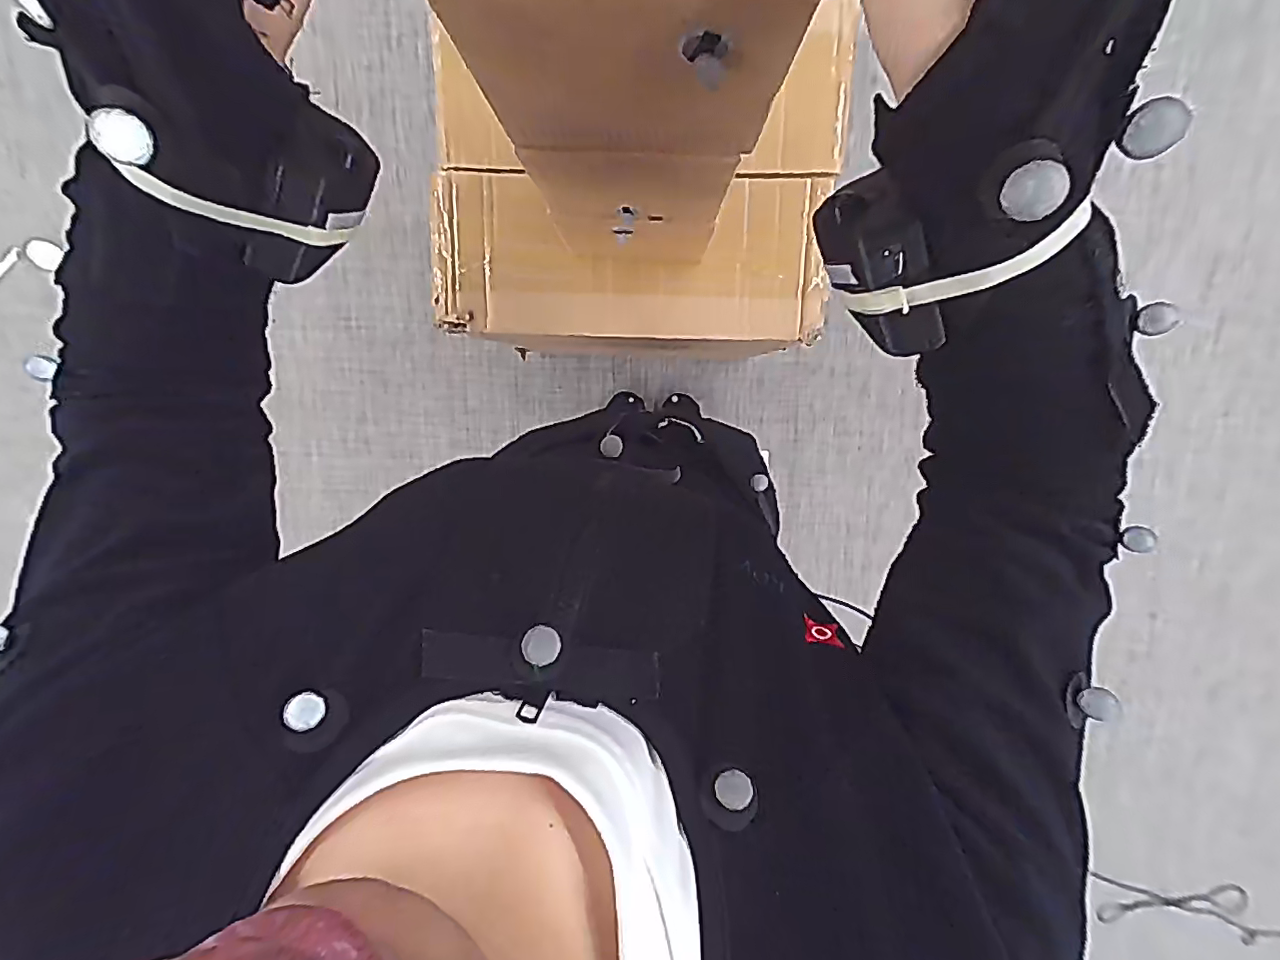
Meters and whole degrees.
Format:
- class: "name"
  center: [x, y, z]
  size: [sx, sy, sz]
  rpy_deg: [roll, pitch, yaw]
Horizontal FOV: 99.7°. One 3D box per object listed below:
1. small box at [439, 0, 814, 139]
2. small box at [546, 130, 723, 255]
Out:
- class: "small box"
  center: [-0.003, -0.307, 0.288]
  size: [0.179, 0.176, 0.168]
  rpy_deg: [3, 100, 1]
- class: "small box"
  center: [-0.002, -0.362, 0.613]
  size: [0.179, 0.176, 0.168]
  rpy_deg: [3, 100, 0]
